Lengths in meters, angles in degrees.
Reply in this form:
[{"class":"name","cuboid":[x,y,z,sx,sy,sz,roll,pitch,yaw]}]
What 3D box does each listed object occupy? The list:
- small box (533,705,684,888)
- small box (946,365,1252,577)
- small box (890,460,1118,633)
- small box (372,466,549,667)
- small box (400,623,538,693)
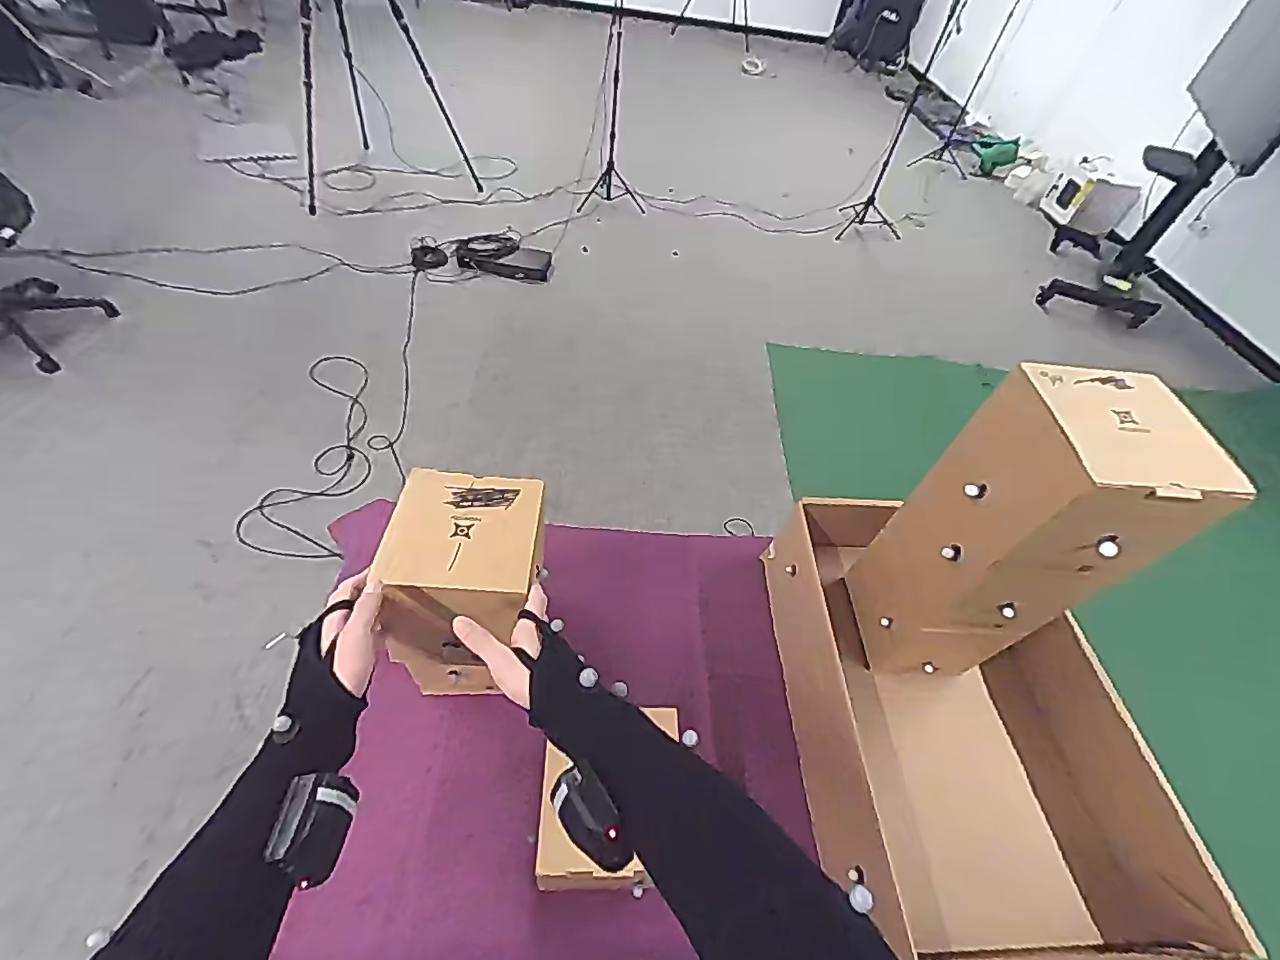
[{"class":"small box","cuboid":[-0.041,0.407,0.690,0.168,0.176,0.179,4,48,-6]},{"class":"small box","cuboid":[0.491,-0.005,0.617,0.168,0.176,0.179,5,52,-3]},{"class":"small box","cuboid":[0.477,0.096,0.745,0.168,0.176,0.179,5,50,-4]},{"class":"small box","cuboid":[-0.206,0.108,0.671,0.168,0.176,0.179,5,44,-6]},{"class":"small box","cuboid":[-0.244,0.213,0.825,0.168,0.176,0.179,2,49,-7]}]
